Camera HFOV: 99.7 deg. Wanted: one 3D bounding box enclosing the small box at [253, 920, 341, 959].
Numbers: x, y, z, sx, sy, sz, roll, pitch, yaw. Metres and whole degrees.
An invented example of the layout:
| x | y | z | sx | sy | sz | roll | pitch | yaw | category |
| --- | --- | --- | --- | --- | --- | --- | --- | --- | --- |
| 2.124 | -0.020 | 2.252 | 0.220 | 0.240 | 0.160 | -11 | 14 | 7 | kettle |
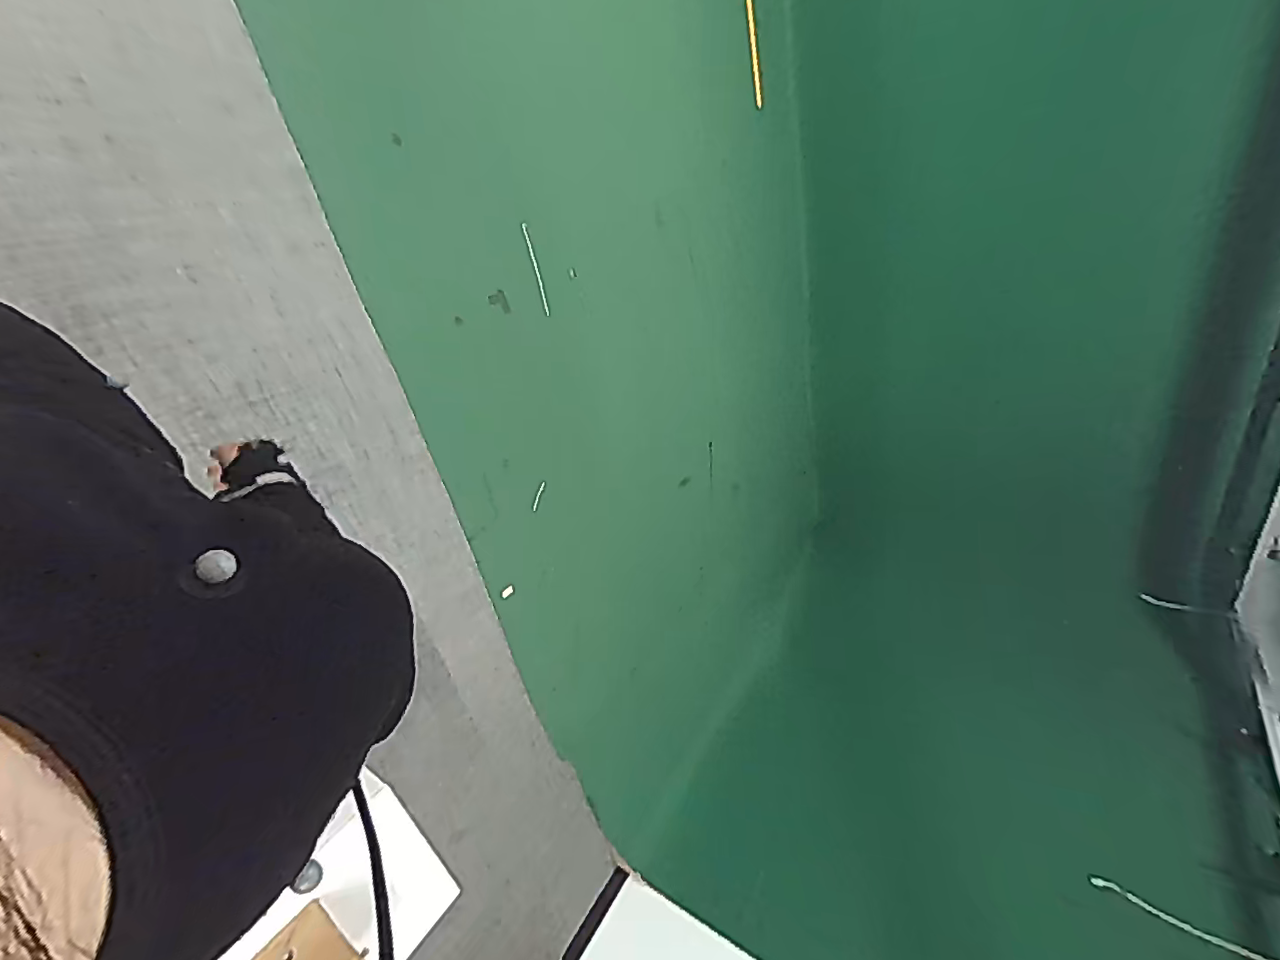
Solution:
| x | y | z | sx | sy | sz | roll | pitch | yaw | category |
| --- | --- | --- | --- | --- | --- | --- | --- | --- | --- |
| -0.545 | 0.860 | 0.857 | 0.168 | 0.176 | 0.179 | -38 | 127 | -44 | small box |
